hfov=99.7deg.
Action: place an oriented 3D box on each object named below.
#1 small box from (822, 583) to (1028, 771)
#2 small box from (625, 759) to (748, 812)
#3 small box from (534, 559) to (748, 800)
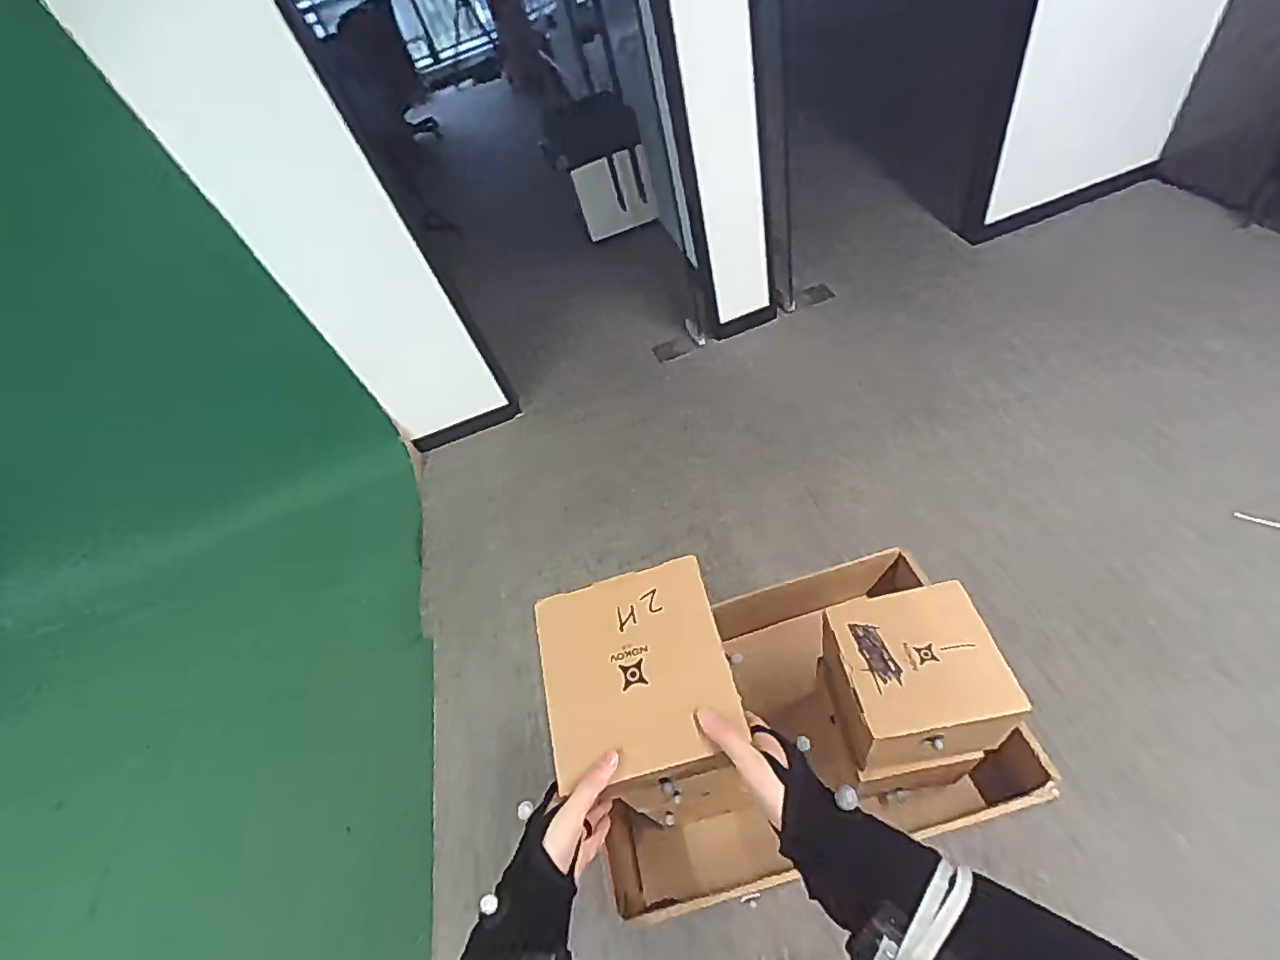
[{"bbox_3d":[0.350,0.261,0.703,0.179,0.176,0.168,-14,49,6],"label":"small box"},{"bbox_3d":[0.044,0.331,0.744,0.168,0.176,0.179,-15,48,5],"label":"small box"},{"bbox_3d":[0.007,0.209,0.552,0.168,0.176,0.179,-17,57,2],"label":"small box"}]
